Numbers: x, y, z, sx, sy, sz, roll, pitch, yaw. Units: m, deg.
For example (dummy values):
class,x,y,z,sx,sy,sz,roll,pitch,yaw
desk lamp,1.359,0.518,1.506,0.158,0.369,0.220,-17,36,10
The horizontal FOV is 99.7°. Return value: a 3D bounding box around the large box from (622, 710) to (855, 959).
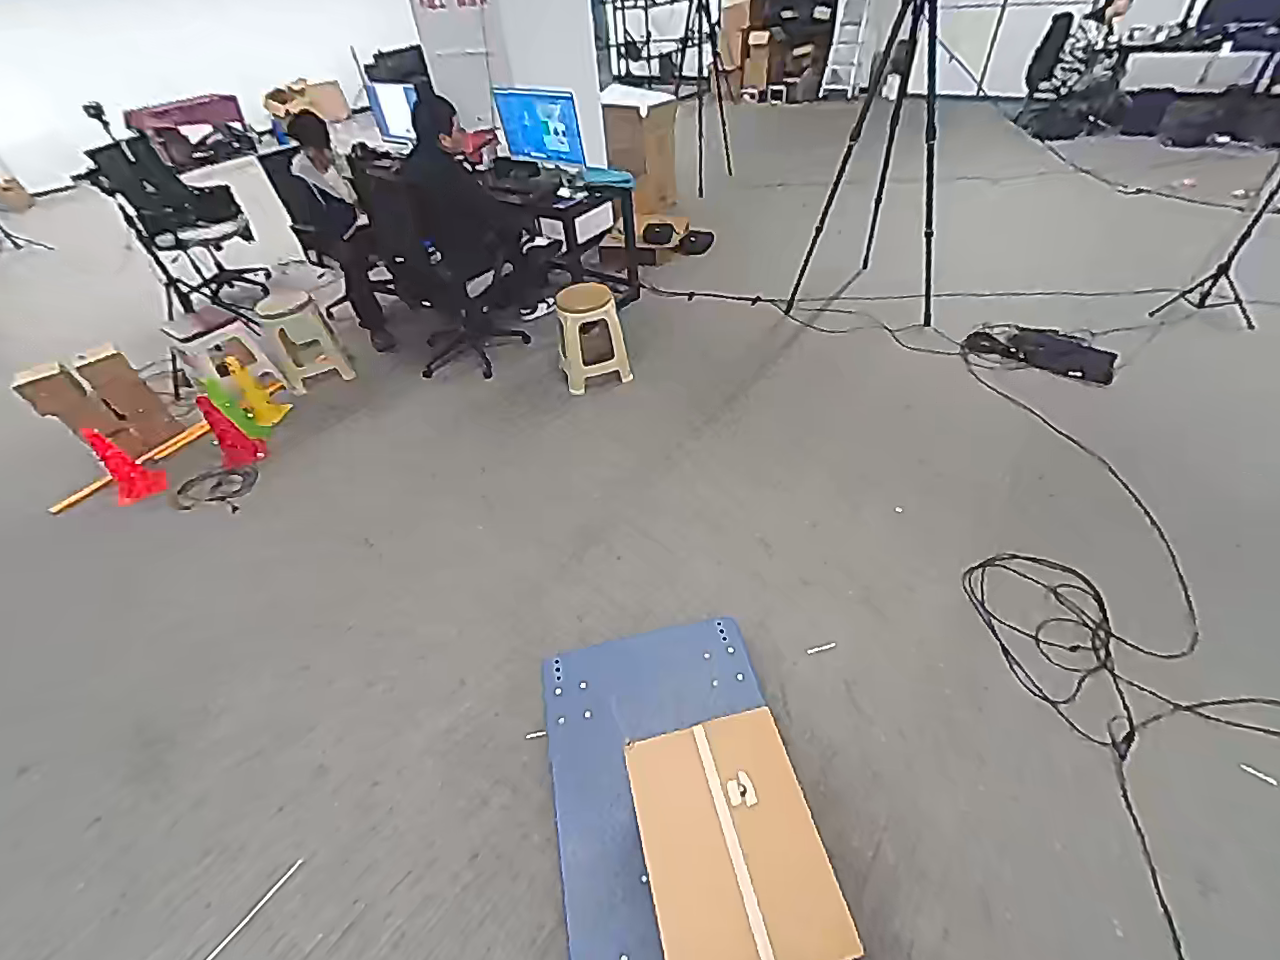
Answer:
class,x,y,z,sx,sy,sz,roll,pitch,yaw
large box,0.169,0.758,1.099,0.320,0.320,0.408,-12,47,-7
